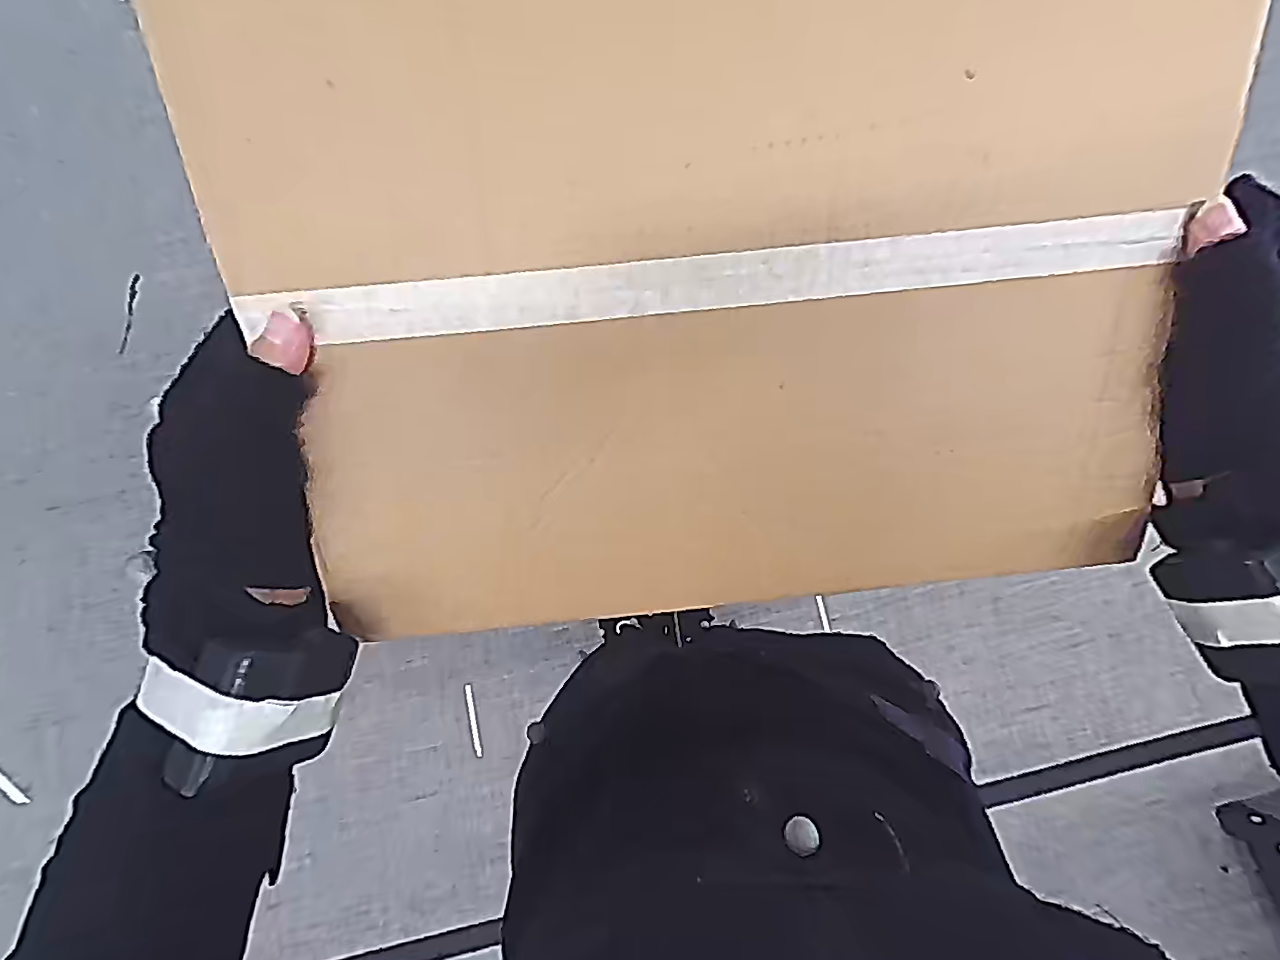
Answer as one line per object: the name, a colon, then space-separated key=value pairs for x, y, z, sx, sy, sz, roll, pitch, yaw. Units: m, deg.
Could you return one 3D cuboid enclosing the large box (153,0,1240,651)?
large box: x=0.032 y=-0.126 z=0.375 sx=0.408 sy=0.320 sz=0.320 roll=-6 pitch=110 yaw=-2
